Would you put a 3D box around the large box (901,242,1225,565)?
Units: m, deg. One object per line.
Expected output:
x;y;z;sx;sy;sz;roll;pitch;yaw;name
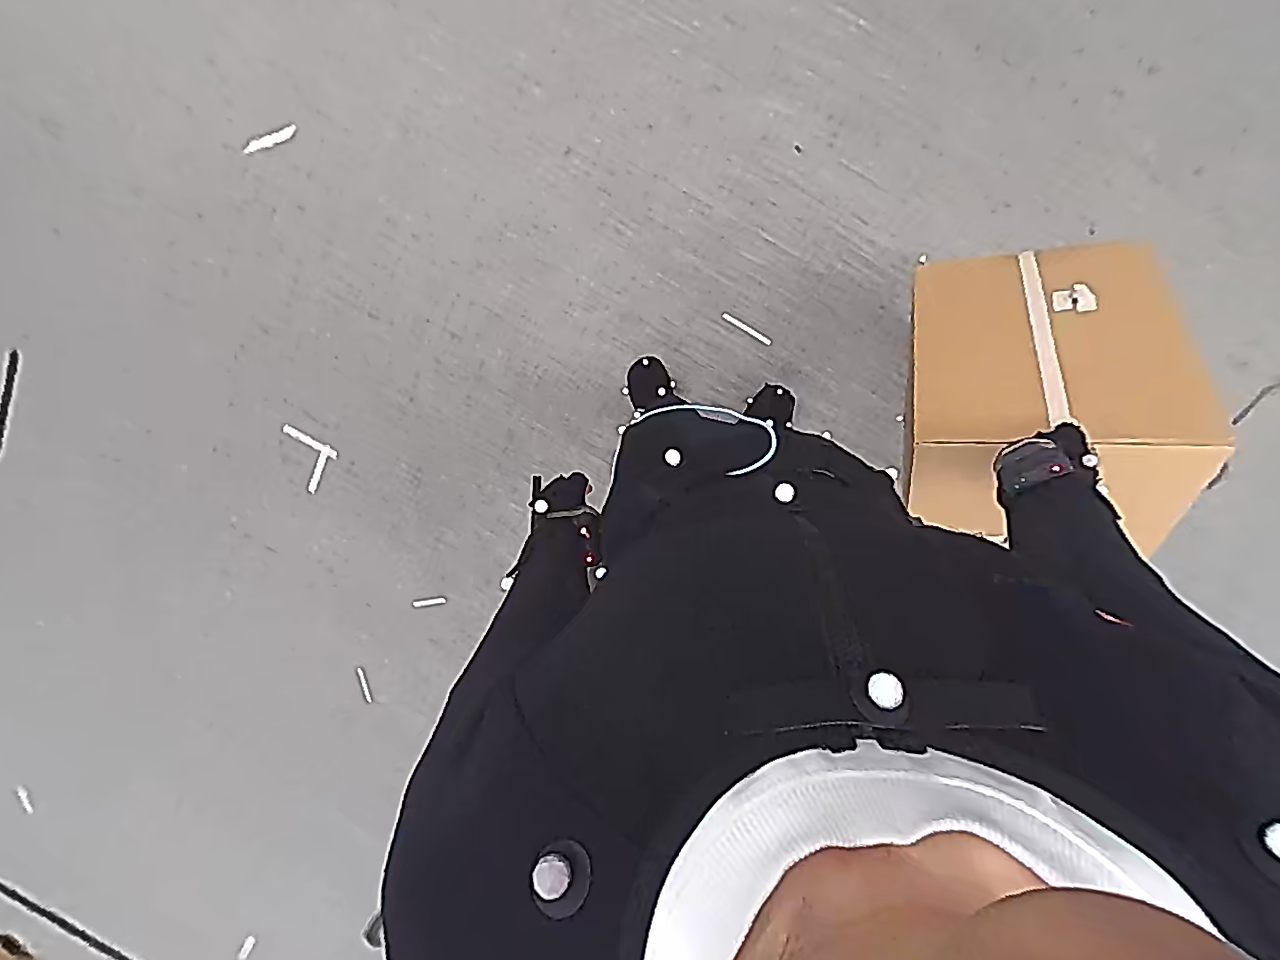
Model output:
0.601;-0.113;0.872;0.320;0.408;0.320;2;142;23;large box
